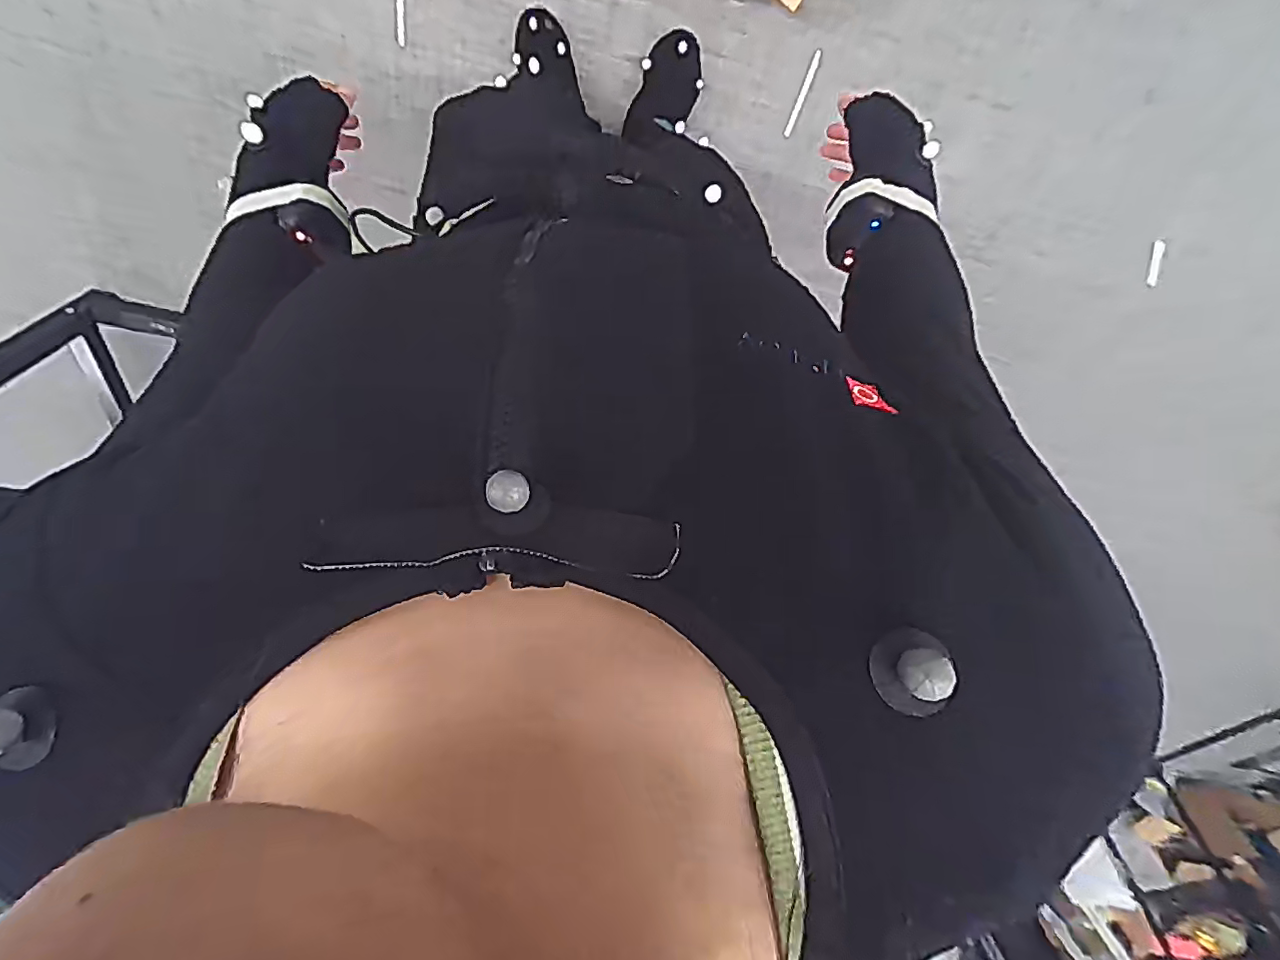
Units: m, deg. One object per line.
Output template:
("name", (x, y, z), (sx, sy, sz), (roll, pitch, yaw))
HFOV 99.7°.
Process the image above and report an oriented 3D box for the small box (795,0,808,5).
("small box", (0.240, -0.925, 0.880), (0.179, 0.176, 0.168), (22, 130, -21))
